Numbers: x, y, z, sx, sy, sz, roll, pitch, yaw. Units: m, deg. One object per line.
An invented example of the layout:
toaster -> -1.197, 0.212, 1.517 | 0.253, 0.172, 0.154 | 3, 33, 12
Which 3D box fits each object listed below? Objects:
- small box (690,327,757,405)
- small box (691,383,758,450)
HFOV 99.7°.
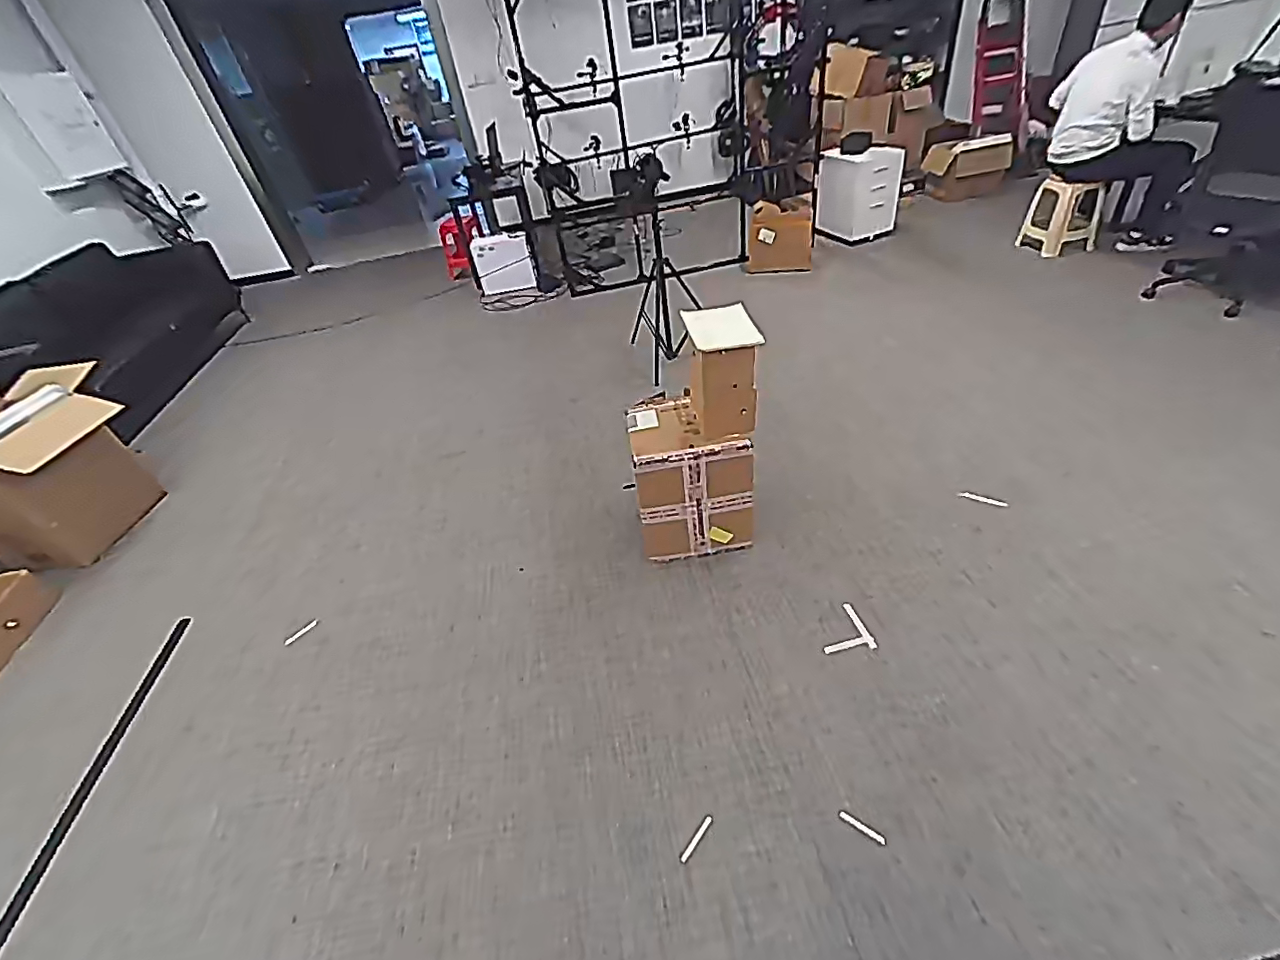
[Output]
small box -> 0.253, -0.353, 1.676 | 0.168, 0.176, 0.179 | -10, 40, -4
small box -> 0.274, -0.223, 1.774 | 0.179, 0.176, 0.168 | -13, 40, -5
